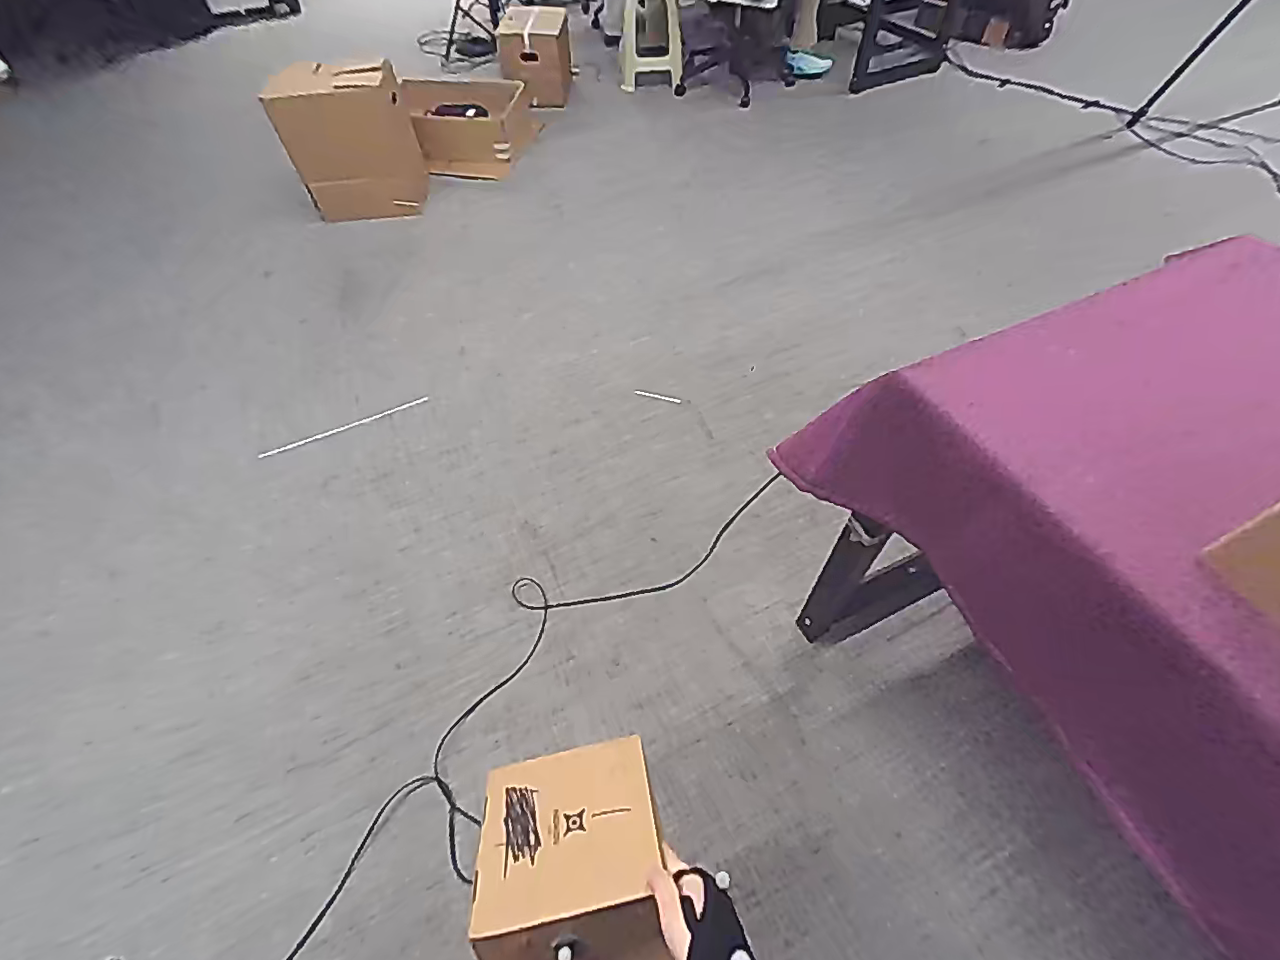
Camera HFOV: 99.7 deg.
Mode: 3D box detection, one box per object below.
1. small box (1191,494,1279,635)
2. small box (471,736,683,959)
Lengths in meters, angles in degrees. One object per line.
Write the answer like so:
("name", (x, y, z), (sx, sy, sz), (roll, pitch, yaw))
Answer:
("small box", (0.581, 0.055, 0.381), (0.168, 0.176, 0.179), (-22, 57, -14))
("small box", (-0.062, 0.417, 0.580), (0.179, 0.176, 0.168), (-11, 26, -4))
